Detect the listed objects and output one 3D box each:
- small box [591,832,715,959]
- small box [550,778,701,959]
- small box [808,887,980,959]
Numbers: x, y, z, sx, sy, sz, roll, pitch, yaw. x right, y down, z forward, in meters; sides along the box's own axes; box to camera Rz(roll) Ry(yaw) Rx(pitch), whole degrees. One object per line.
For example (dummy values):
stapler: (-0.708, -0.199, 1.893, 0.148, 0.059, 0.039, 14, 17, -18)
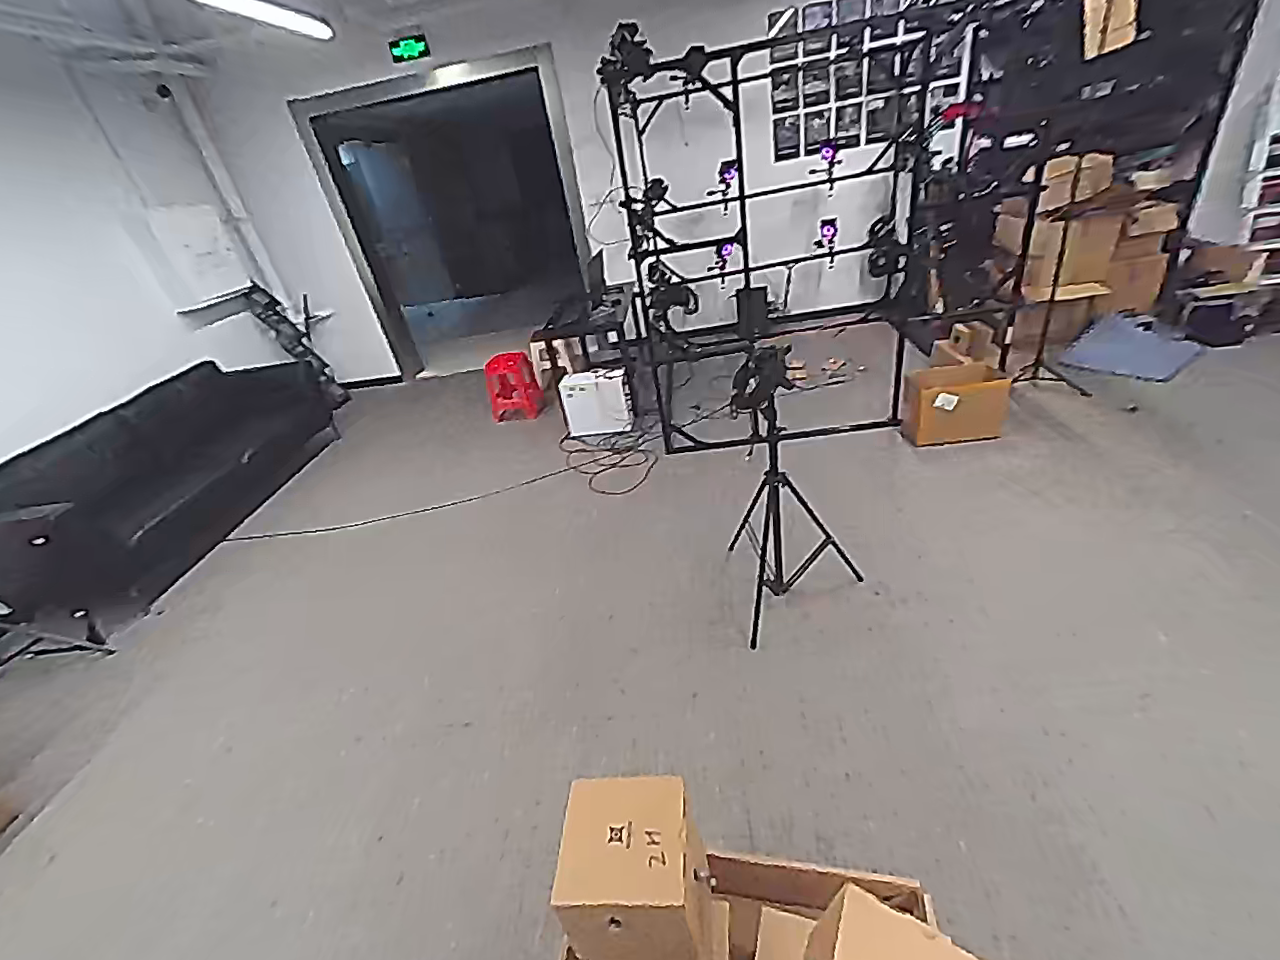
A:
small box: (0.028, 0.697, 0.861, 0.168, 0.176, 0.179, -7, 30, 8)
small box: (-0.011, 0.560, 0.782, 0.179, 0.176, 0.168, -6, 31, 9)
small box: (0.250, 0.566, 0.532, 0.168, 0.176, 0.179, 20, 37, 20)
